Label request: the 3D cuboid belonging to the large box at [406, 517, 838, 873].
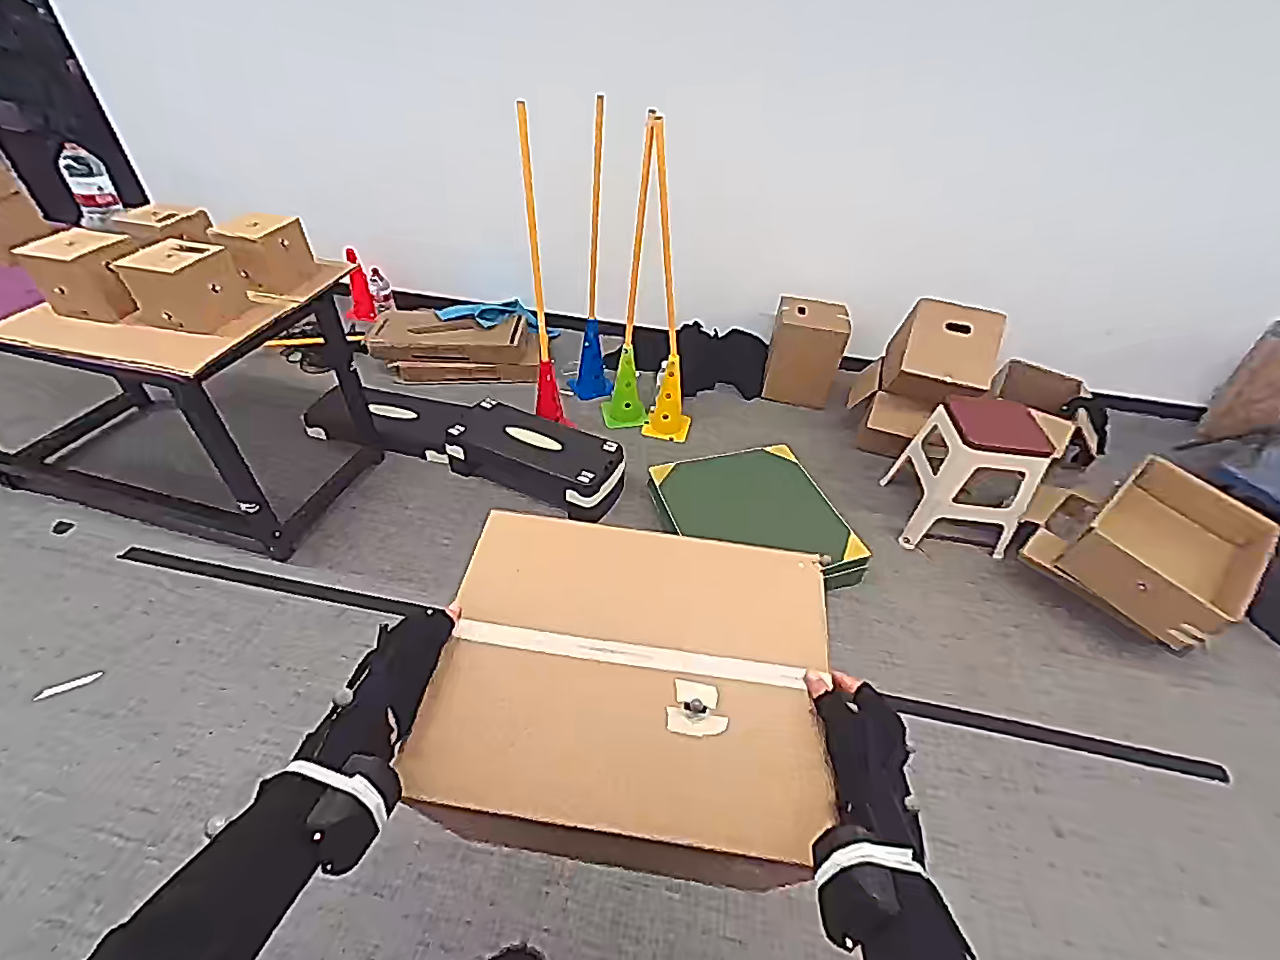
[{"bbox_3d":[-0.012,0.279,0.693,0.408,0.320,0.320,8,51,2],"label":"large box"}]
